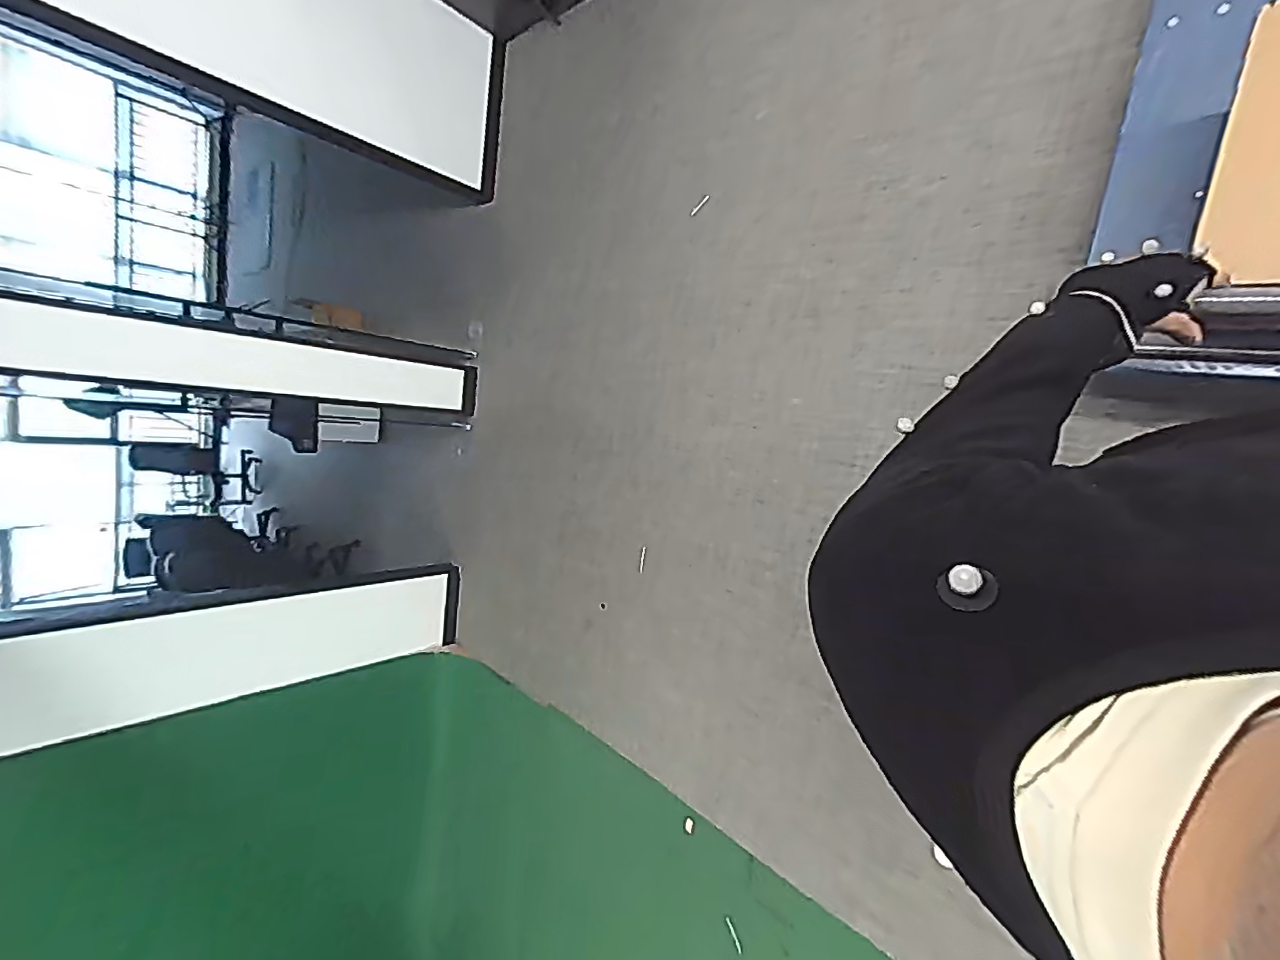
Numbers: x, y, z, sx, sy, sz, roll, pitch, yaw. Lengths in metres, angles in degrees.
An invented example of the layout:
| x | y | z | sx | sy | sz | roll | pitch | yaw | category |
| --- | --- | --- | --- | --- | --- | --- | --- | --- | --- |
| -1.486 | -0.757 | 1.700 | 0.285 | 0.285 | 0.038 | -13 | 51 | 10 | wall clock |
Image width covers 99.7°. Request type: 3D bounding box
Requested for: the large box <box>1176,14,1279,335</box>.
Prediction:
| x | y | z | sx | sy | sz | roll | pitch | yaw | category |
| --- | --- | --- | --- | --- | --- | --- | --- | --- | --- |
| 1.089 | -0.458 | 0.837 | 0.320 | 0.320 | 0.408 | 14 | 98 | 41 | large box |
